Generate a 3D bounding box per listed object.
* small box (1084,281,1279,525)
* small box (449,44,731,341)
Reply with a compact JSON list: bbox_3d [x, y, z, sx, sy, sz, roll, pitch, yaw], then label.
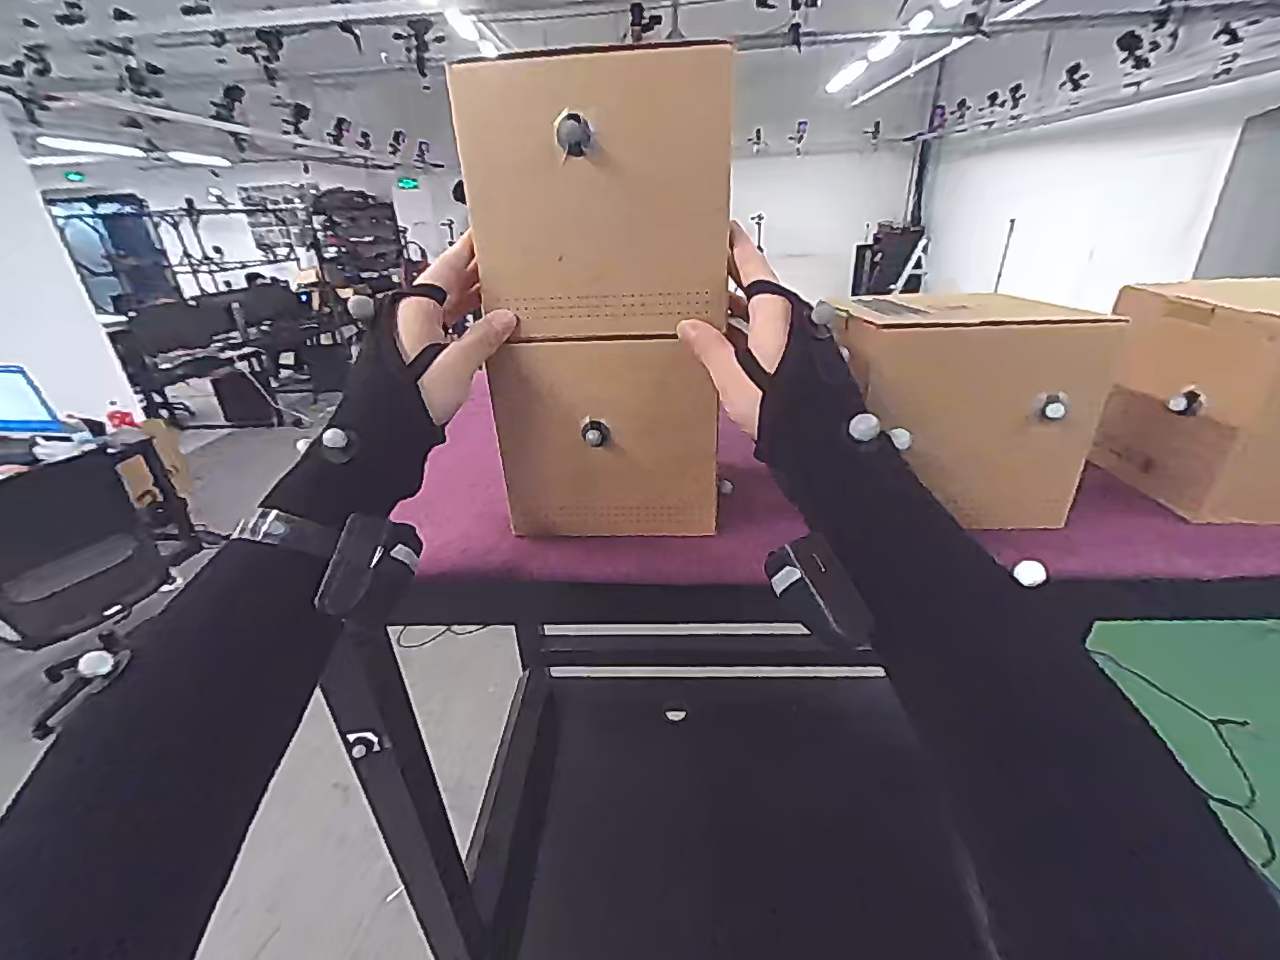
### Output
[{"bbox_3d":[0.532,-0.070,0.465,0.179,0.176,0.168,0,28,5],"label":"small box"},{"bbox_3d":[-0.021,-0.208,0.424,0.179,0.176,0.168,1,26,6],"label":"small box"}]
